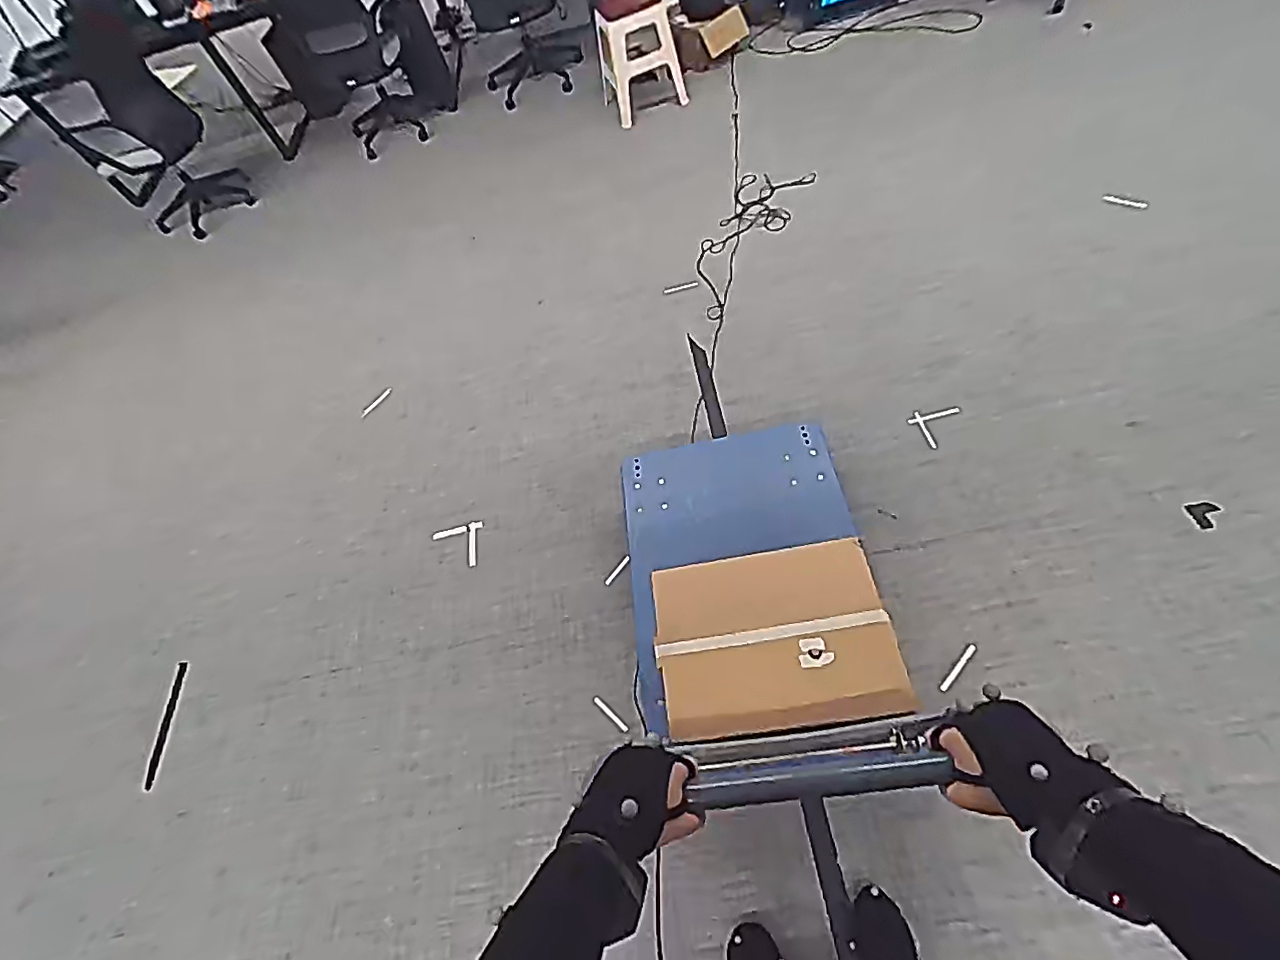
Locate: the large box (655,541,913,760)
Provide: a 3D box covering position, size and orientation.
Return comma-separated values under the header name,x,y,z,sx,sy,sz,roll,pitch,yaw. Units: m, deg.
name,x,y,z,sx,sy,sz,roll,pitch,yaw
large box,0.265,0.362,1.103,0.408,0.320,0.320,-11,58,6
